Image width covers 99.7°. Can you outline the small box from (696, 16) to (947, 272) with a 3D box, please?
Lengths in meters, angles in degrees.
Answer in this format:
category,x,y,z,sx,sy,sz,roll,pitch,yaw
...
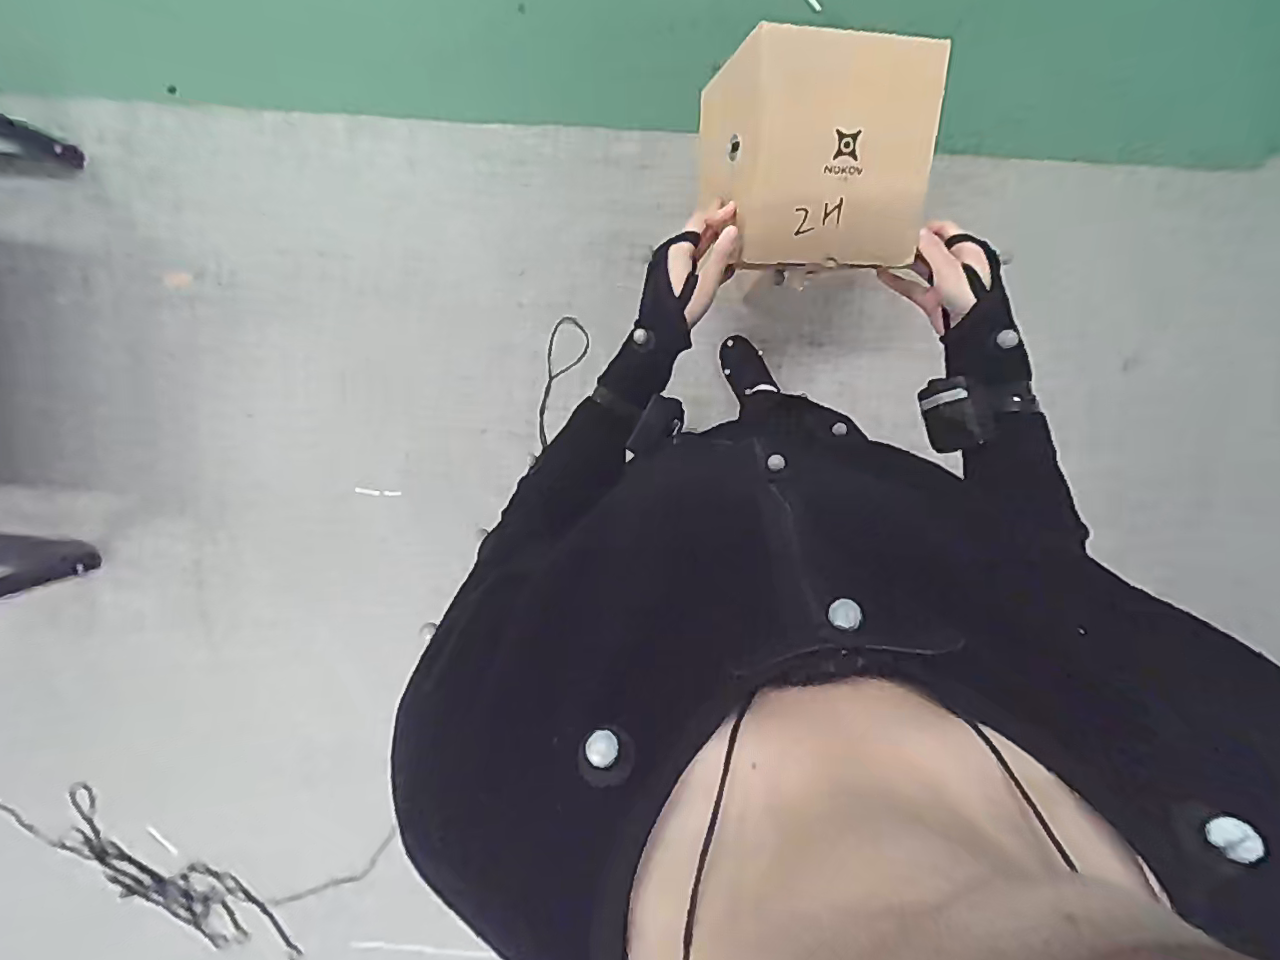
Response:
category,x,y,z,sx,sy,sz,roll,pitch,yaw
small box,0.156,-0.302,0.528,0.168,0.176,0.179,-2,110,-9

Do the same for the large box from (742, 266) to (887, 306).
category,x,y,z,sx,sy,sz,roll,pitch,yaw
large box,0.389,-0.660,1.252,0.320,0.320,0.408,-9,96,3
